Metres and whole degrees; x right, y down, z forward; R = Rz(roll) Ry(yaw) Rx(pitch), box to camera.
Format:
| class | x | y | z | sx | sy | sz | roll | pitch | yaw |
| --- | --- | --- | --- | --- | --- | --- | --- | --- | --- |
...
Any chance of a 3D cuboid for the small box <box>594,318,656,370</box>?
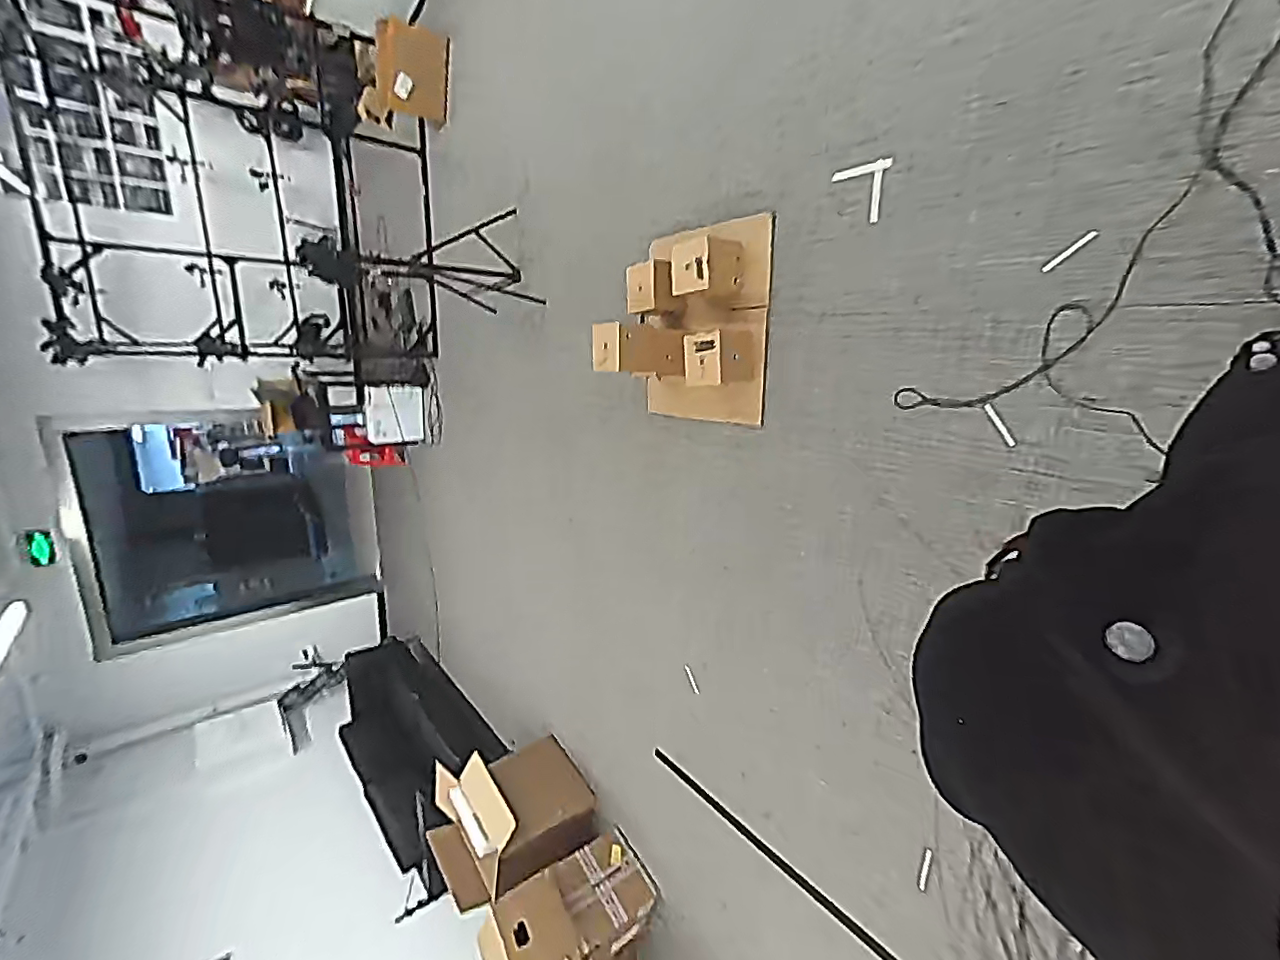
| class | x | y | z | sx | sy | sz | roll | pitch | yaw |
| --- | --- | --- | --- | --- | --- | --- | --- | --- | --- |
| small box | -0.052 | -0.499 | 1.992 | 0.168 | 0.176 | 0.179 | 16 | 110 | 50 |

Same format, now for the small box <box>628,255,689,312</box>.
| class | x | y | z | sx | sy | sz | roll | pitch | yaw |
| --- | --- | --- | --- | --- | --- | --- | --- | --- | --- |
| small box | 0.073 | -0.740 | 2.054 | 0.168 | 0.176 | 0.179 | 10 | 106 | 51 |

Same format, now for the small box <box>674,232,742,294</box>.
| class | x | y | z | sx | sy | sz | roll | pitch | yaw |
| --- | --- | --- | --- | --- | --- | --- | --- | --- | --- |
| small box | 0.235 | -0.735 | 1.849 | 0.179 | 0.176 | 0.168 | 11 | 107 | 50 |

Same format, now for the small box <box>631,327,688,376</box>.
| class | x | y | z | sx | sy | sz | roll | pitch | yaw |
| --- | --- | --- | --- | --- | --- | --- | --- | --- | --- |
| small box | 0.075 | -0.499 | 2.101 | 0.168 | 0.176 | 0.179 | 10 | 107 | 49 |
